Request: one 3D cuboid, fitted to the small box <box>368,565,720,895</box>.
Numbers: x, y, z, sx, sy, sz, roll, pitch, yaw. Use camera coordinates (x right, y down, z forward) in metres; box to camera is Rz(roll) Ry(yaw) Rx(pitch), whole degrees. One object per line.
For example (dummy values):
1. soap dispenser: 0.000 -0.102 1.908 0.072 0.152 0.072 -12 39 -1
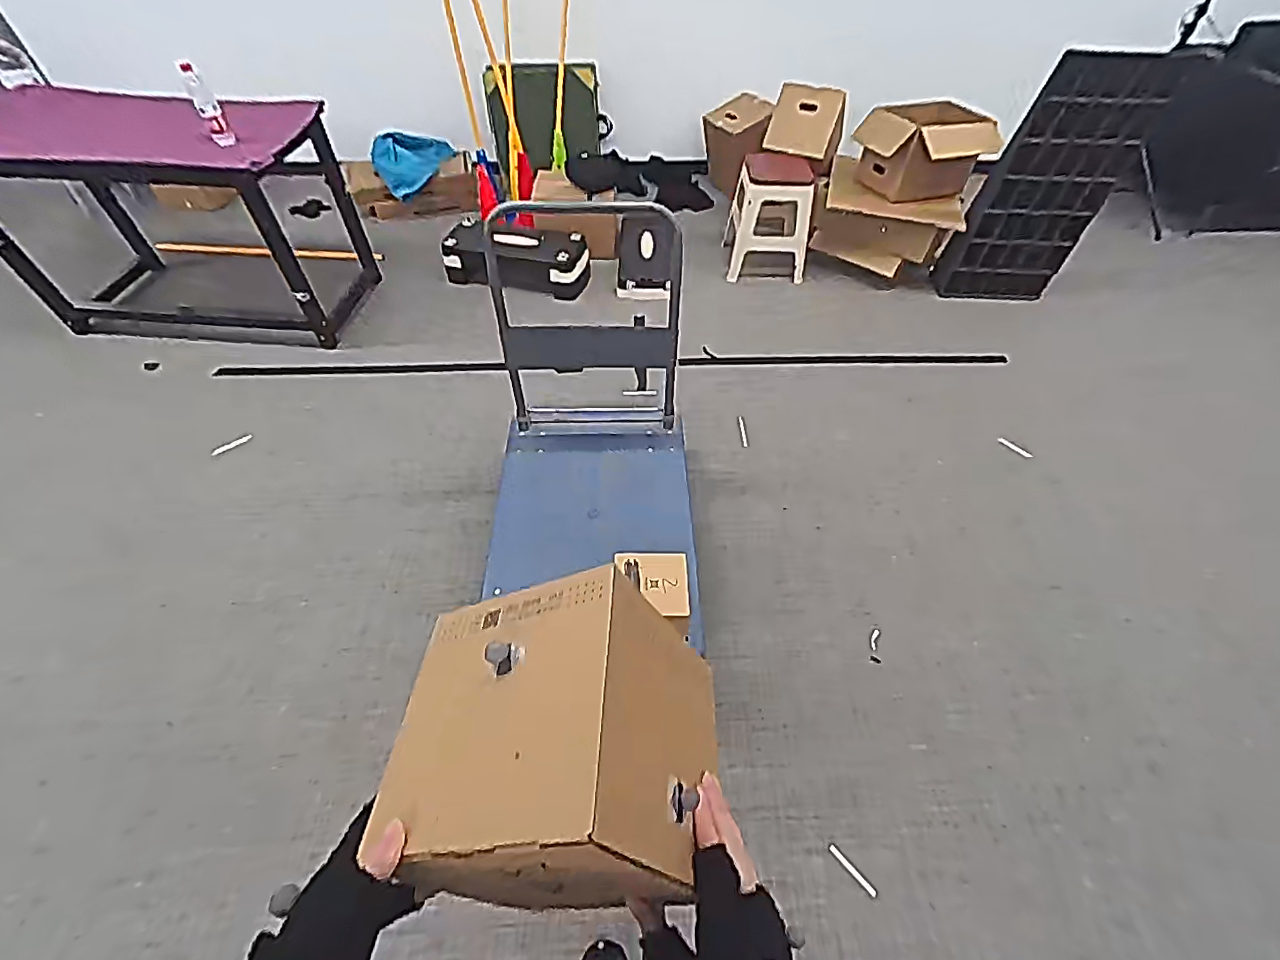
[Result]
1. small box: -0.049 0.190 0.403 0.168 0.179 0.176 -19 40 21
